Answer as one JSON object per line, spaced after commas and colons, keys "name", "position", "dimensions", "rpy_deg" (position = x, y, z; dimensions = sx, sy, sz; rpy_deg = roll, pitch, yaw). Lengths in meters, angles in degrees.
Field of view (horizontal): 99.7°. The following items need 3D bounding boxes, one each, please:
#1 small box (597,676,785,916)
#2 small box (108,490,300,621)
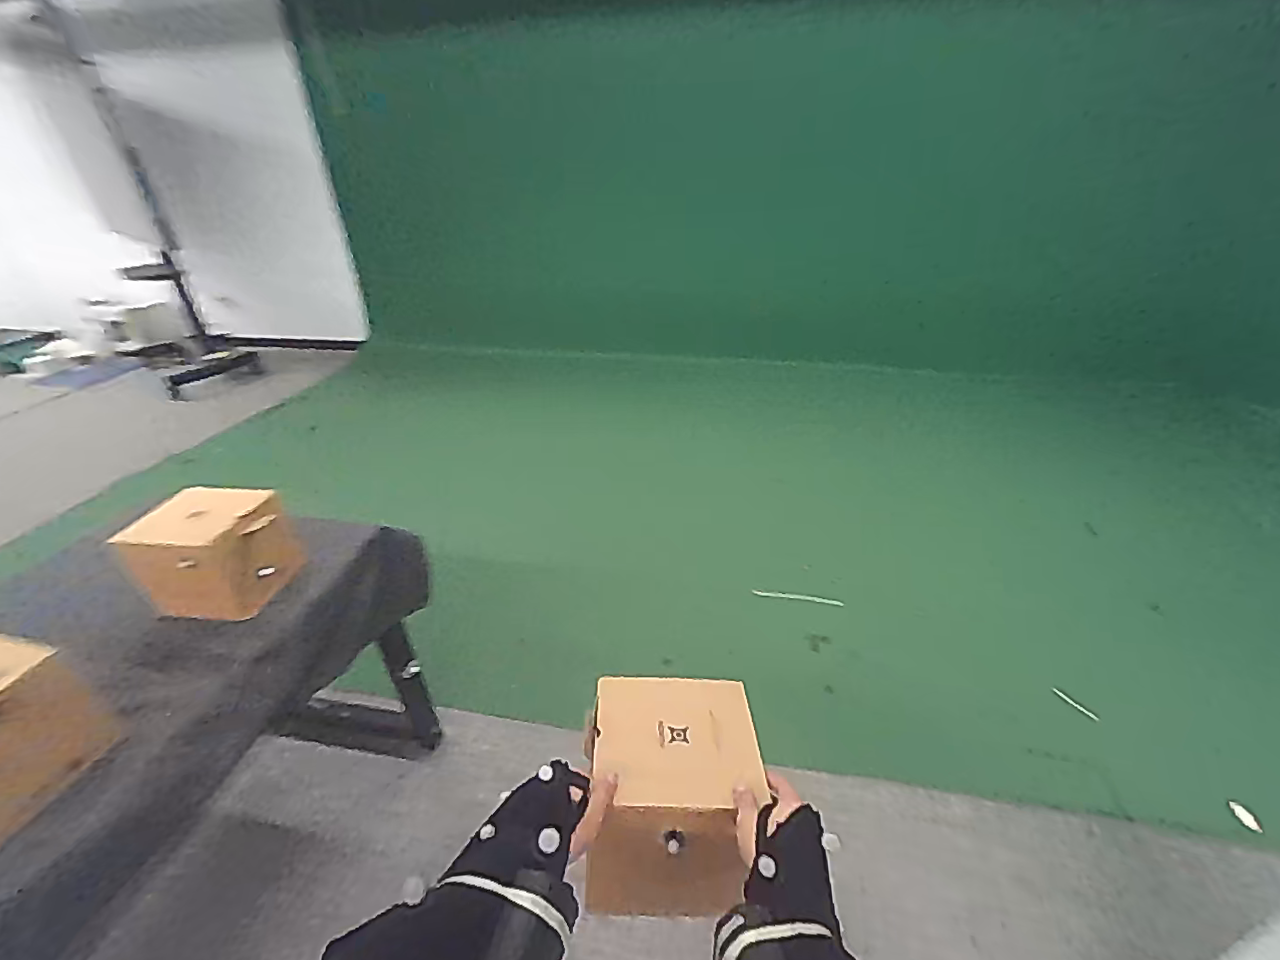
{"name": "small box", "position": [0.045, 0.343, 0.599], "dimensions": [0.179, 0.176, 0.168], "rpy_deg": [4, 23, -1]}
{"name": "small box", "position": [-0.759, 0.133, 0.965], "dimensions": [0.179, 0.176, 0.168], "rpy_deg": [2, 32, 6]}
